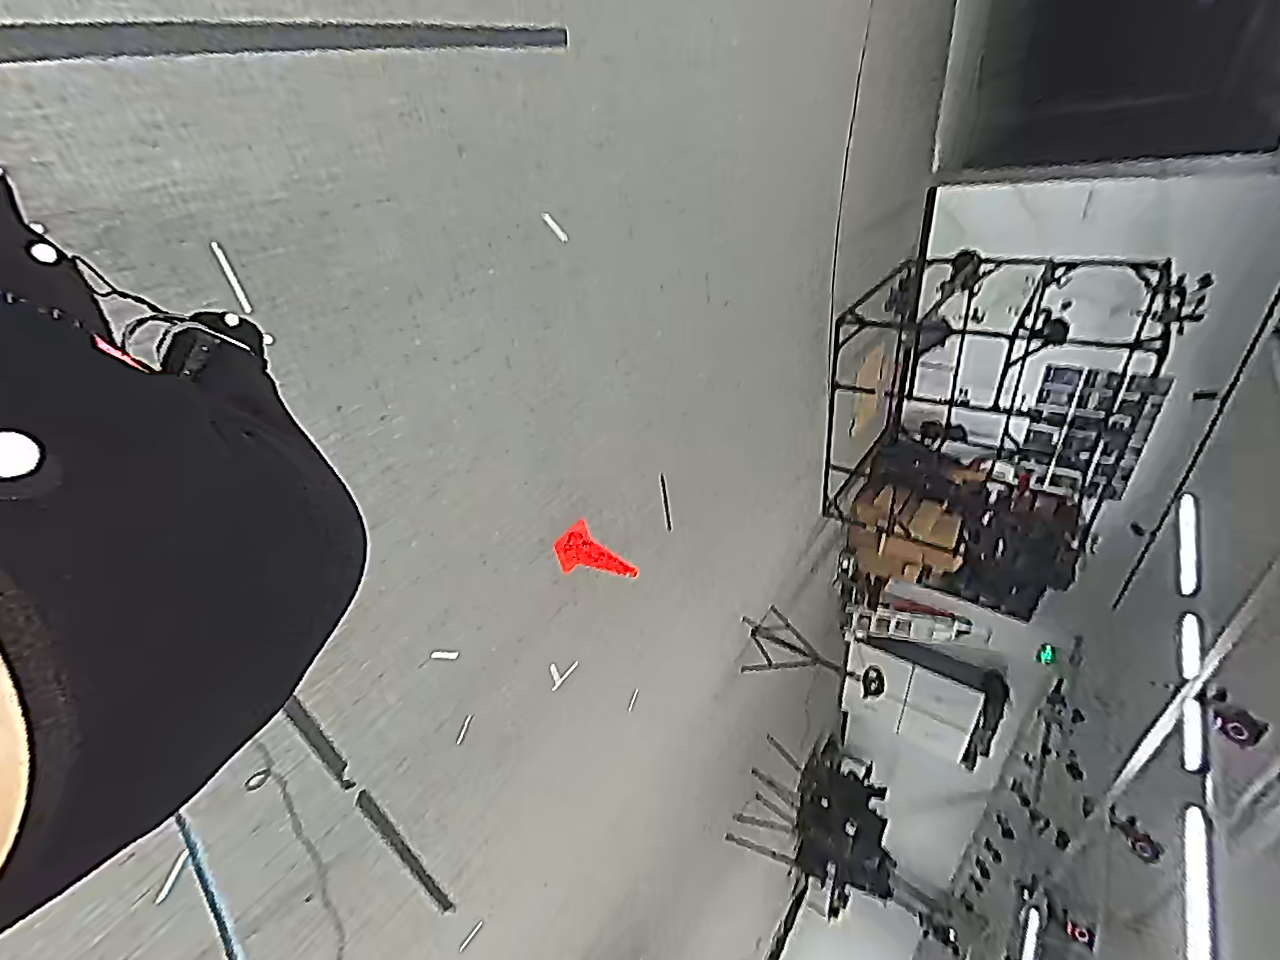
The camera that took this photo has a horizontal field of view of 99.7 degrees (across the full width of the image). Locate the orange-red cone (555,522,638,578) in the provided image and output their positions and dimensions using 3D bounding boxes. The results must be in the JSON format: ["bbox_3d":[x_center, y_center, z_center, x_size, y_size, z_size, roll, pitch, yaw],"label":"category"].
[{"bbox_3d":[-0.158,0.346,2.304,0.198,0.360,0.199,-44,136,-36],"label":"orange-red cone"}]
